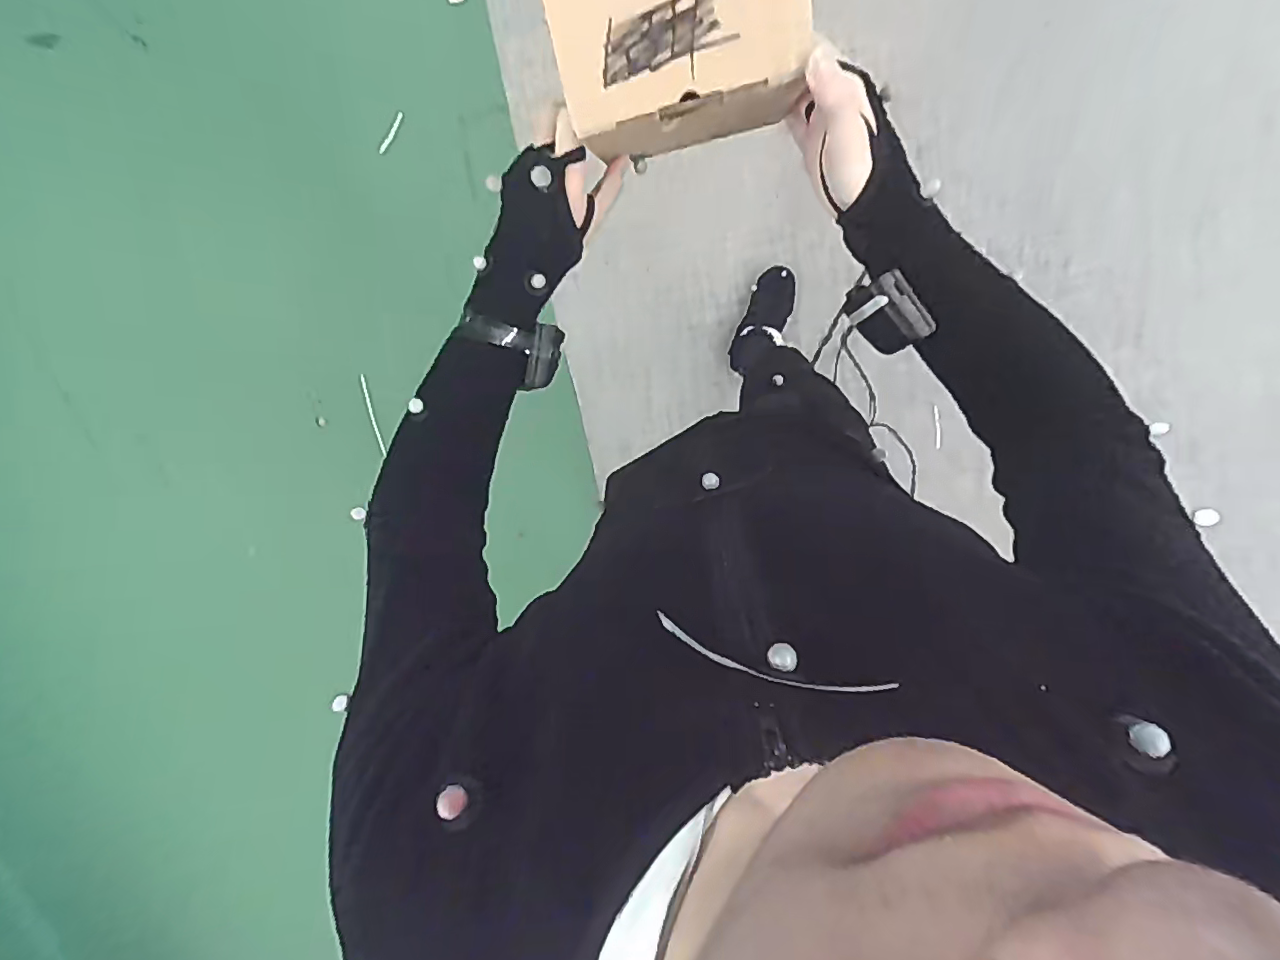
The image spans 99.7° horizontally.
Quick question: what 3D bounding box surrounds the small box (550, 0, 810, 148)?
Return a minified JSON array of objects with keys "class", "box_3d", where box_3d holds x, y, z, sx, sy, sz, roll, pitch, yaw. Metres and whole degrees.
[{"class":"small box","box_3d":[0.026,-0.372,0.409,0.168,0.176,0.179,-9,110,9]}]
